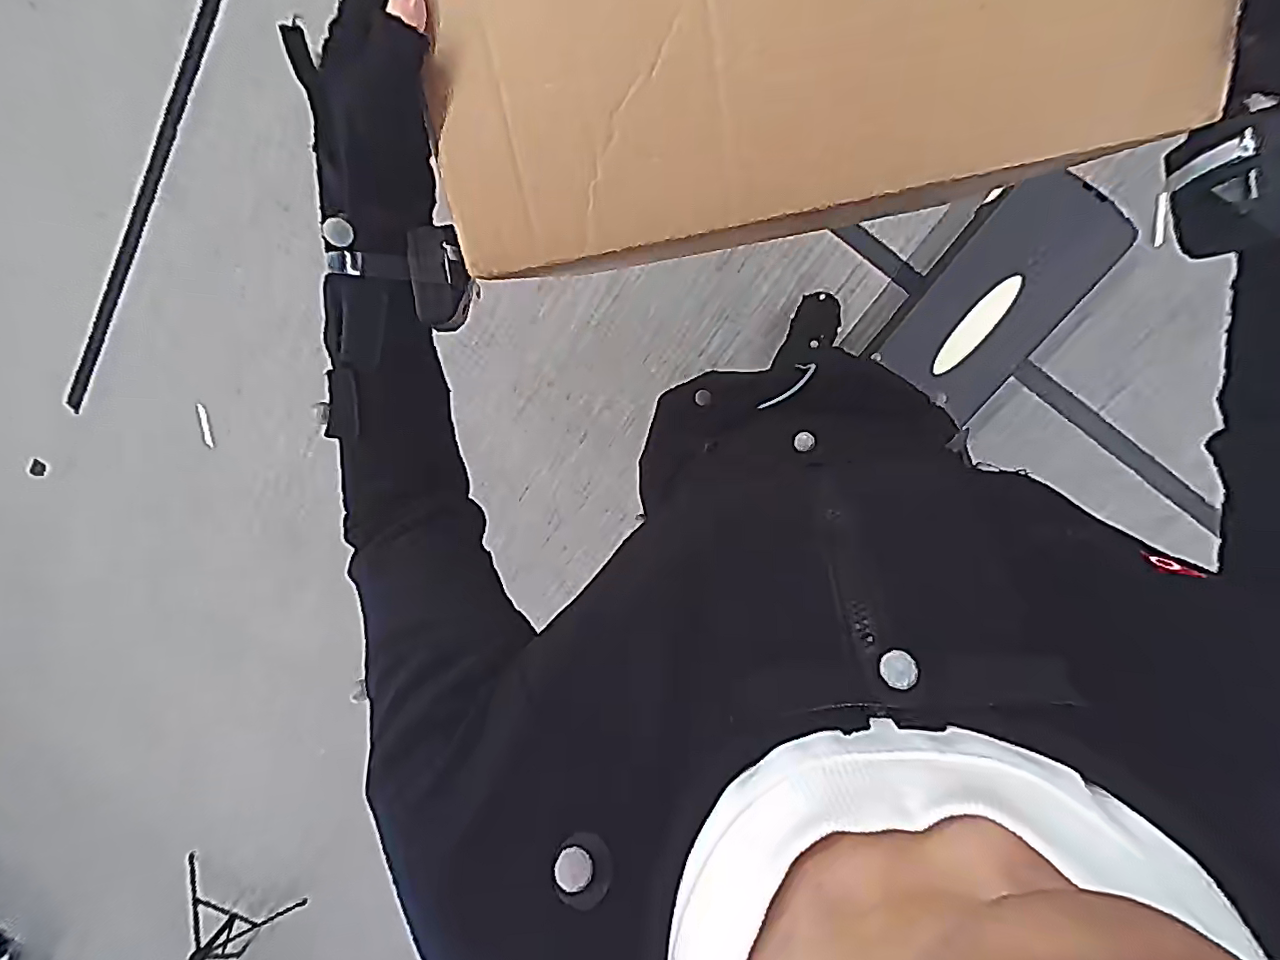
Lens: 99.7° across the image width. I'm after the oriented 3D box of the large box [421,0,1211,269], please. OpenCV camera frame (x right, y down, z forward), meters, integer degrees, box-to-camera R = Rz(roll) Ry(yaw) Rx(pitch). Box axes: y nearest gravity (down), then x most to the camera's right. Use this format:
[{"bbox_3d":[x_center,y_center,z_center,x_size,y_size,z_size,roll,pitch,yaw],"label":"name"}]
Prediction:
[{"bbox_3d":[0.083,-0.361,0.404,0.408,0.320,0.320,-8,110,10],"label":"large box"}]
